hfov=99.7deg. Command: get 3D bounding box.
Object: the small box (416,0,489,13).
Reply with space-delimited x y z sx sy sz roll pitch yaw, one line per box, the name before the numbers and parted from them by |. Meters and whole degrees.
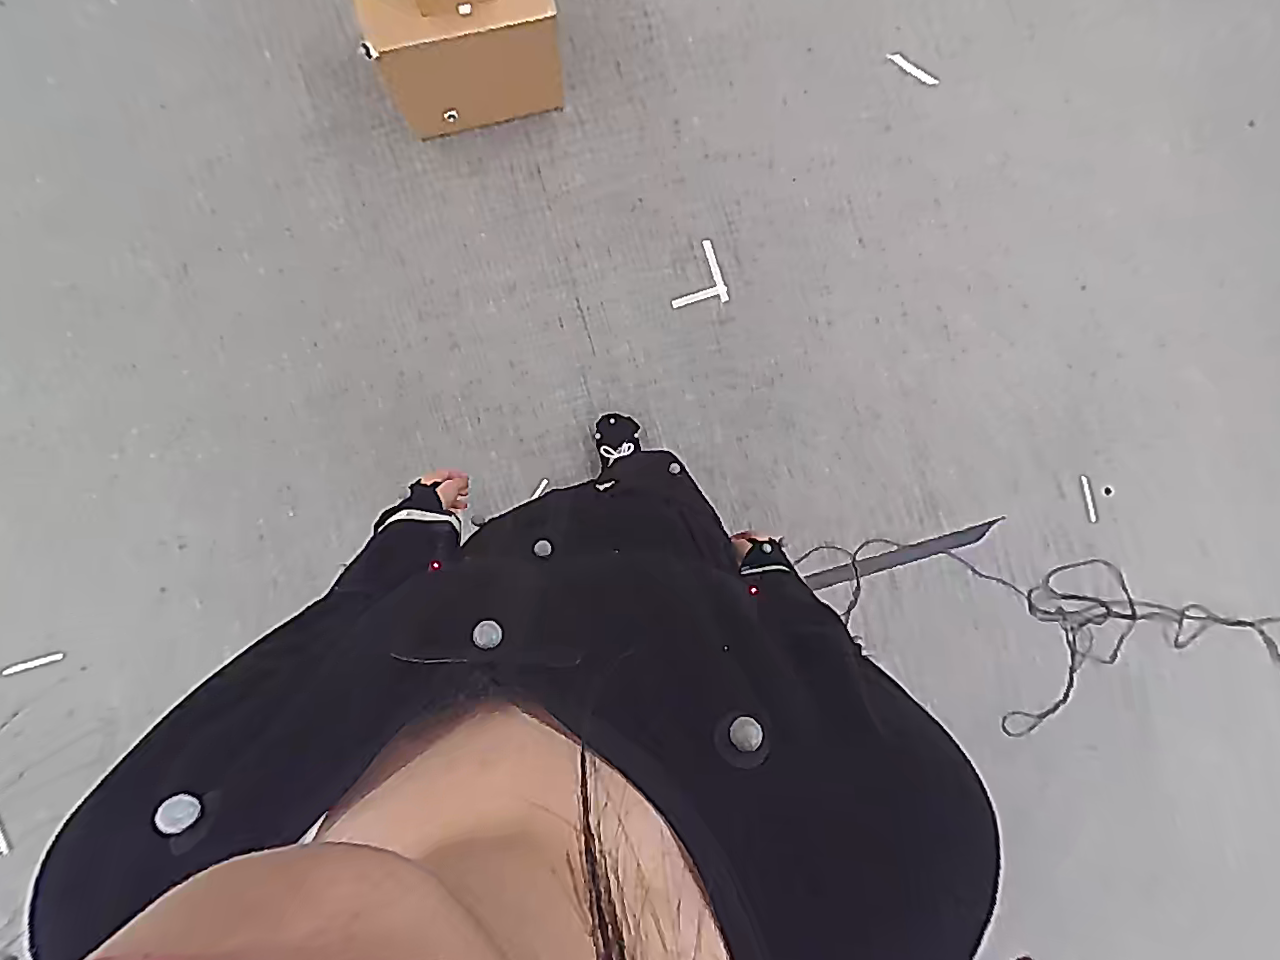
small box | -0.387 -1.059 1.043 0.179 0.176 0.168 -17 95 -4
